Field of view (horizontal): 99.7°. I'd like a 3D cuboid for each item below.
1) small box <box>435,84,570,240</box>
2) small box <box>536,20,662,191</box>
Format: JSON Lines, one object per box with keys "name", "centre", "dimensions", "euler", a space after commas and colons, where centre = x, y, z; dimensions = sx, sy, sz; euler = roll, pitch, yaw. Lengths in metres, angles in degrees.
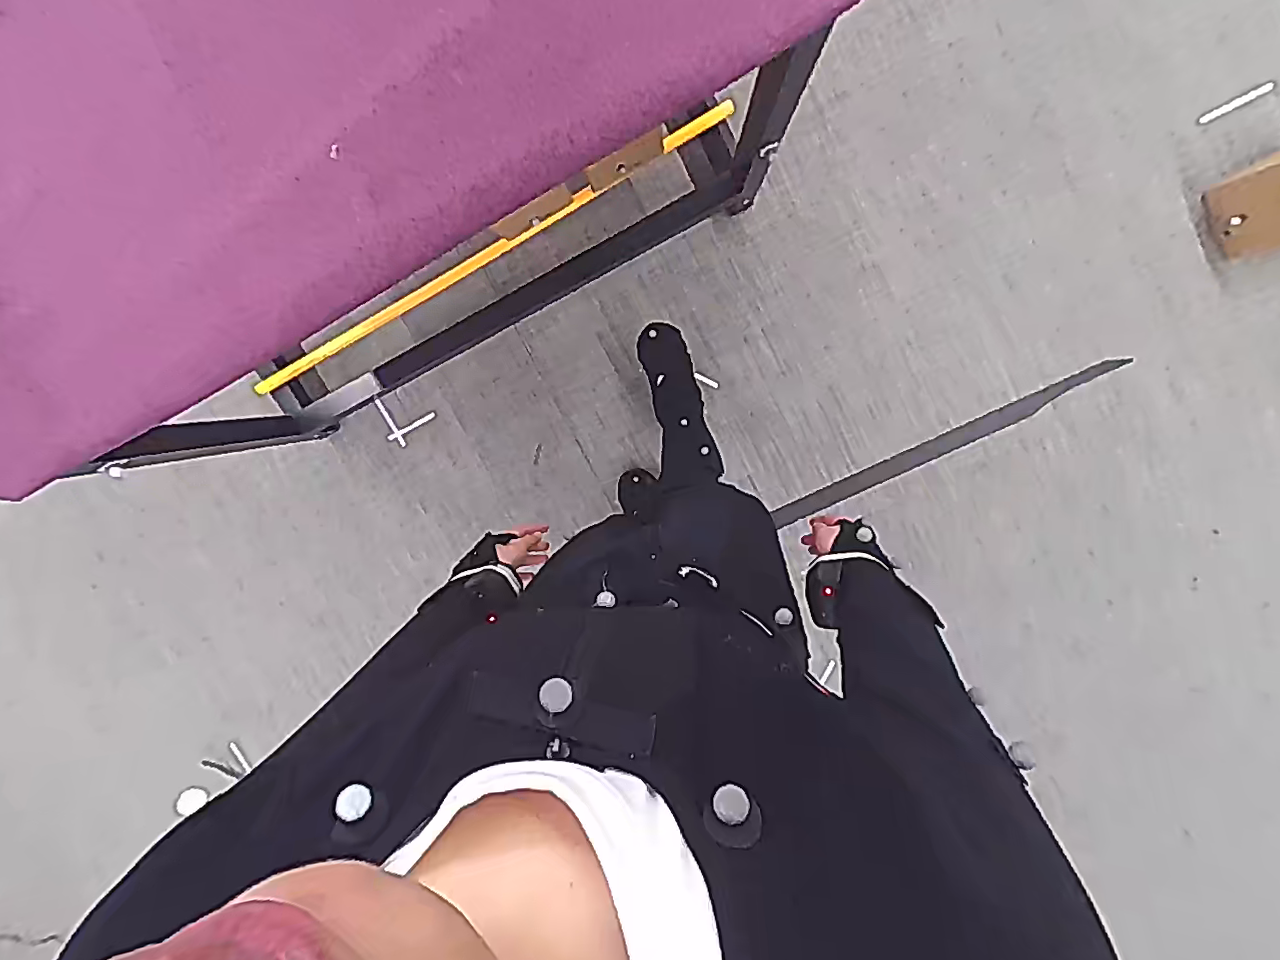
{"name": "small box", "centre": [-0.254, -0.597, 1.042], "dimensions": [0.168, 0.176, 0.179], "euler": [-27, 100, 7]}
{"name": "small box", "centre": [-0.069, -0.687, 1.017], "dimensions": [0.168, 0.176, 0.179], "euler": [-27, 99, 7]}
